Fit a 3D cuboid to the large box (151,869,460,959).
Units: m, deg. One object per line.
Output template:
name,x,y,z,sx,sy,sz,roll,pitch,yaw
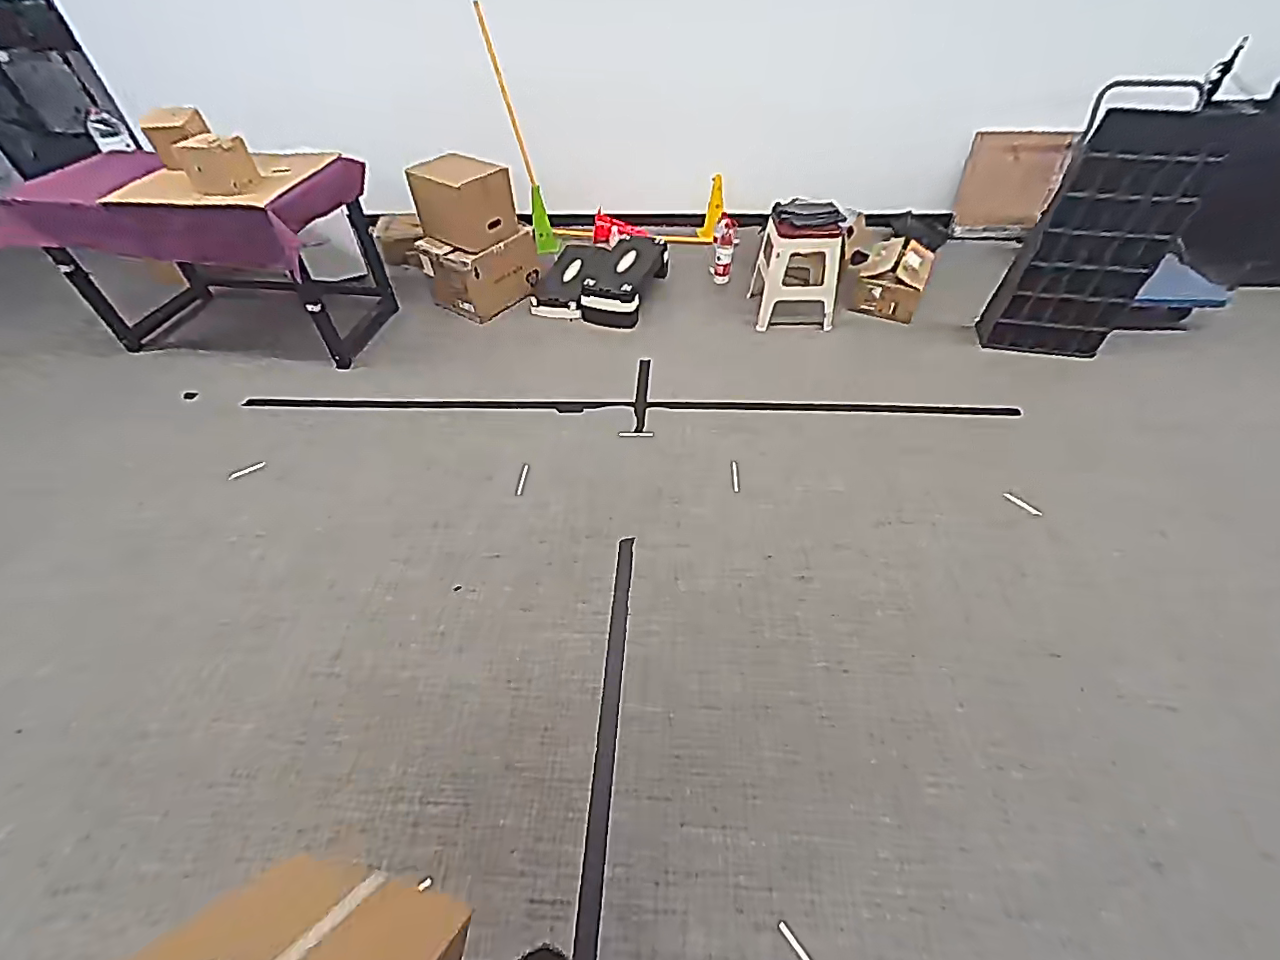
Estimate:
large box,-0.467,0.753,0.629,0.320,0.408,0.320,9,78,8
